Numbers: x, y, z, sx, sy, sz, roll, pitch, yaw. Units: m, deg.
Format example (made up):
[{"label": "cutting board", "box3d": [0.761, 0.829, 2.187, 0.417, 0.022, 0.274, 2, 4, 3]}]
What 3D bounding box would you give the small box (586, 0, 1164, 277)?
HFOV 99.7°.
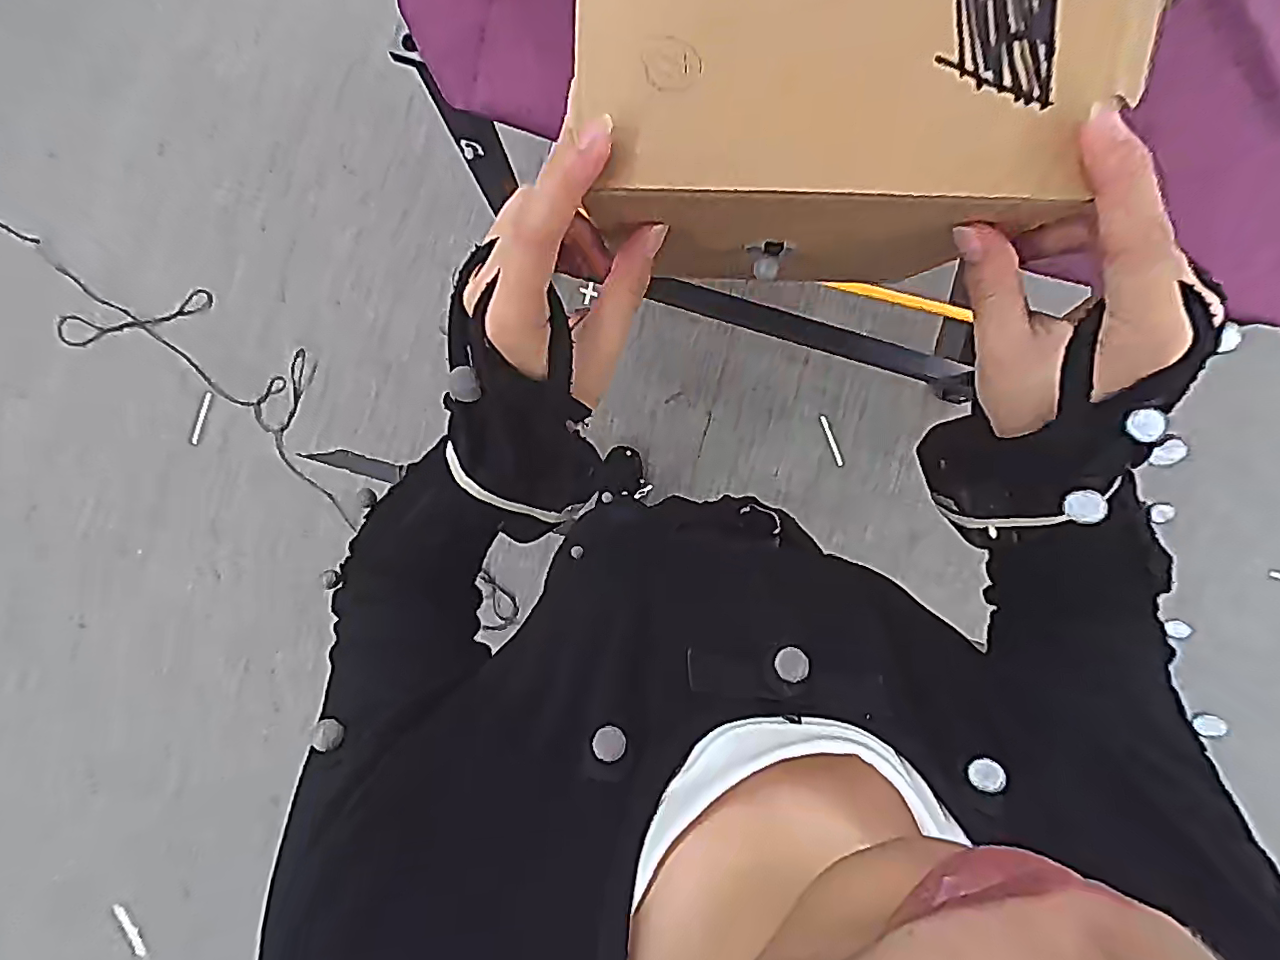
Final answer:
[{"label": "small box", "box3d": [0.076, -0.191, 0.238, 0.179, 0.176, 0.168, 3, 101, 3]}]
